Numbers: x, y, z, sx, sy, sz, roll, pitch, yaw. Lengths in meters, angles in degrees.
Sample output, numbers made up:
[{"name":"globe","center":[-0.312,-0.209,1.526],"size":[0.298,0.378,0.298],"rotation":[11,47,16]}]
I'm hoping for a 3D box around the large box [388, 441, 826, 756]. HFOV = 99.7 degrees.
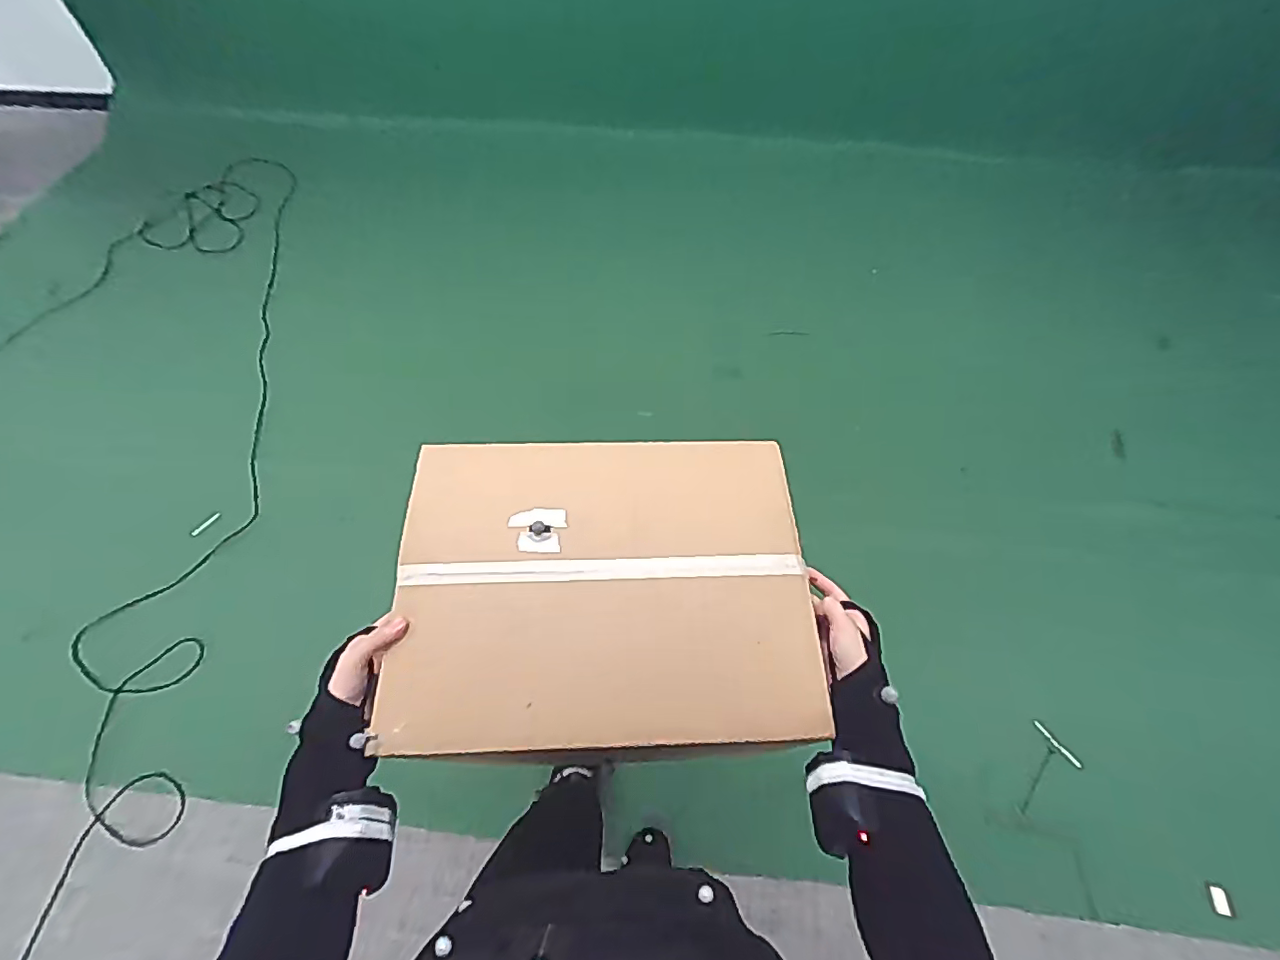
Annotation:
[{"name":"large box","center":[-0.034,0.166,0.687],"size":[0.408,0.320,0.320],"rotation":[-1,60,-2]}]
